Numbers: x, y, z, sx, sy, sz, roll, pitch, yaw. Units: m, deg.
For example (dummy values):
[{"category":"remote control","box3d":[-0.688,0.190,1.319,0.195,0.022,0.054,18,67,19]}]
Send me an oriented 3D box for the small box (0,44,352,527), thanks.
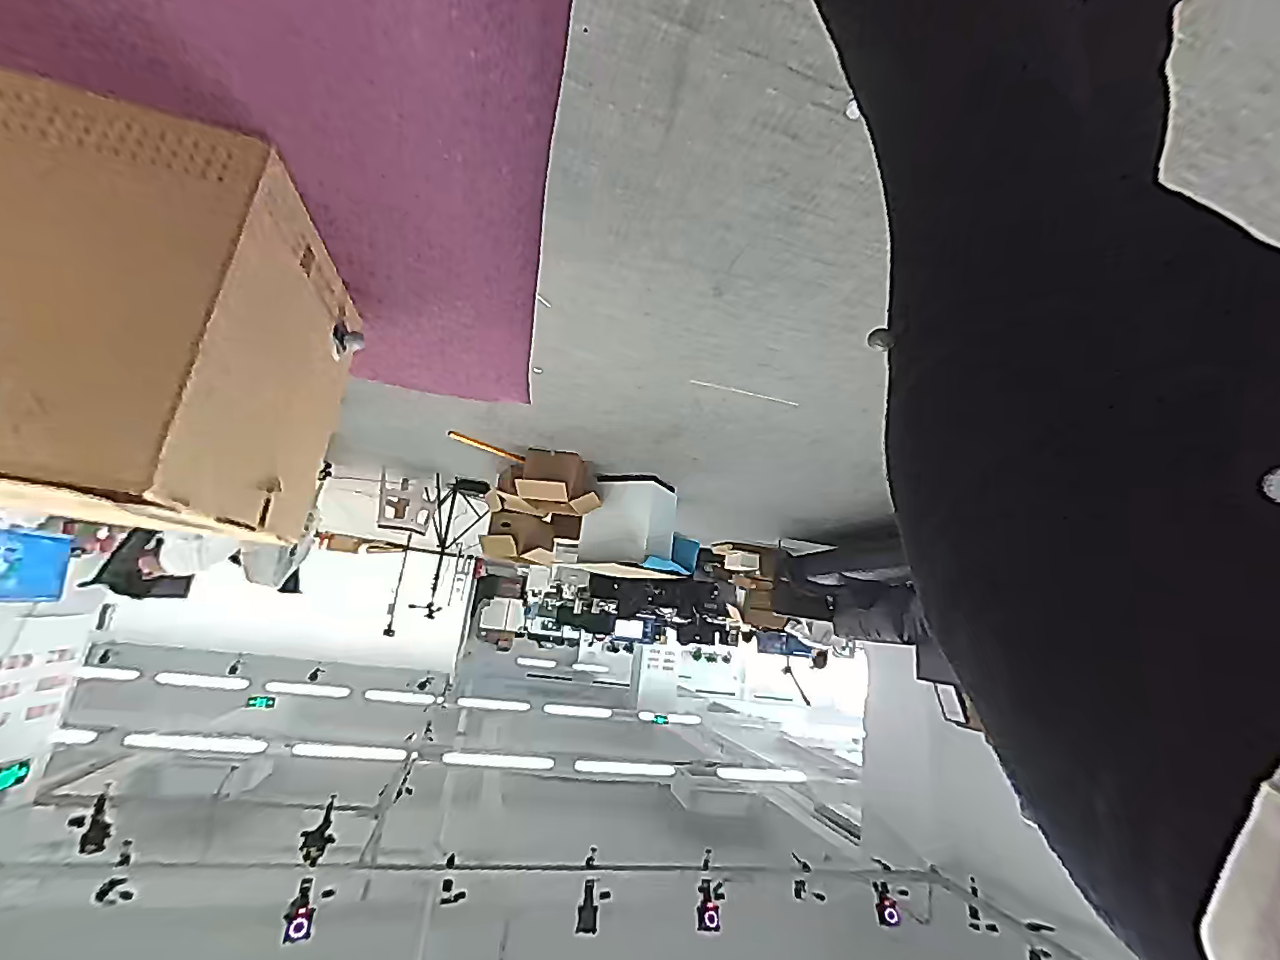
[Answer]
[{"category":"small box","box3d":[-0.271,-0.081,0.278,0.179,0.176,0.168,12,164,-11]}]
